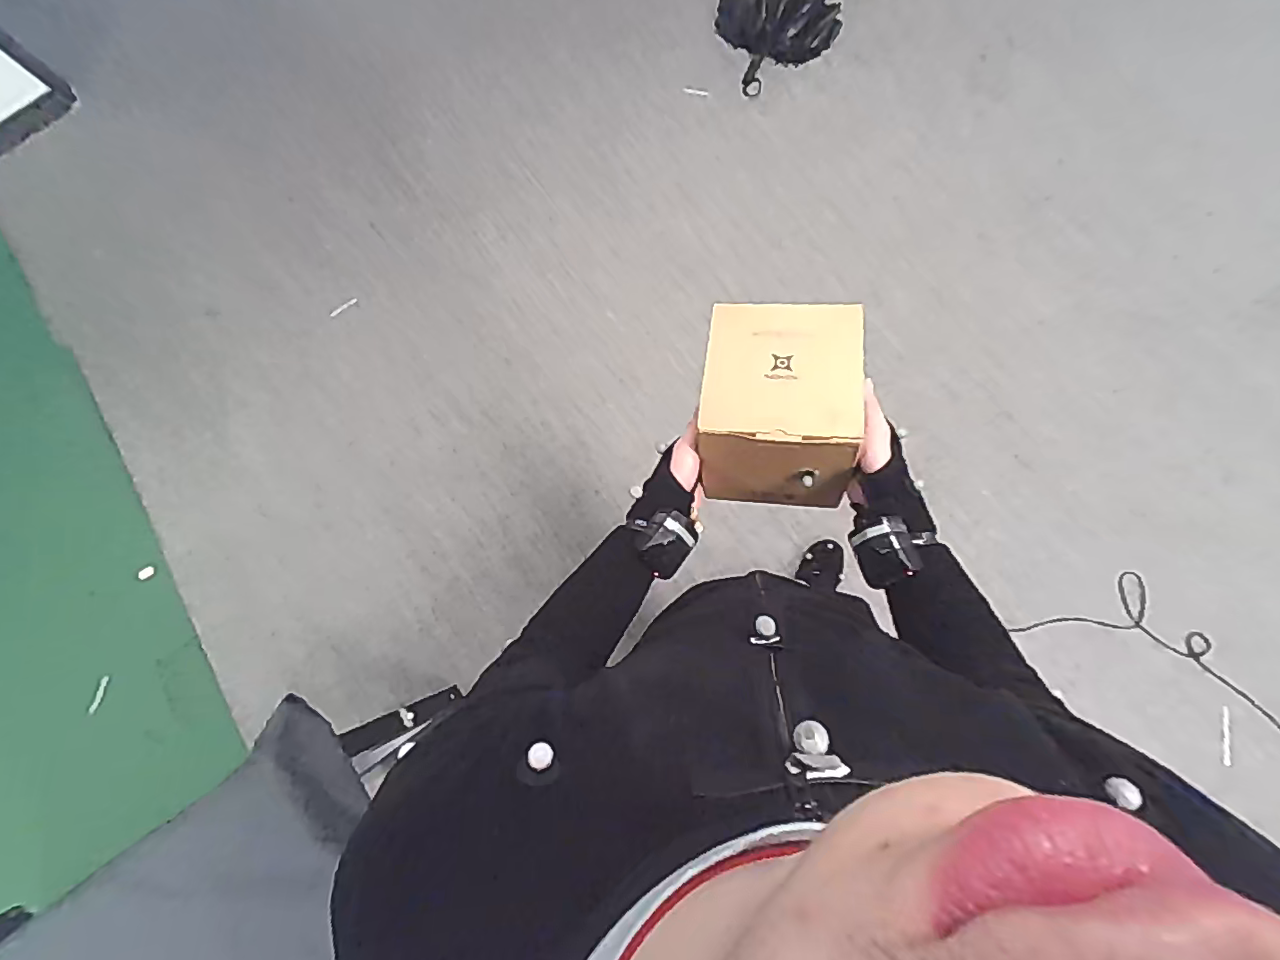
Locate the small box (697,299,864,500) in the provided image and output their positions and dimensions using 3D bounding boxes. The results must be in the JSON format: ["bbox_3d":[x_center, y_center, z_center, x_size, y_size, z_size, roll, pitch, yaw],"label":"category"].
[{"bbox_3d":[0.162,-0.090,0.643,0.168,0.176,0.179,5,63,11],"label":"small box"}]
